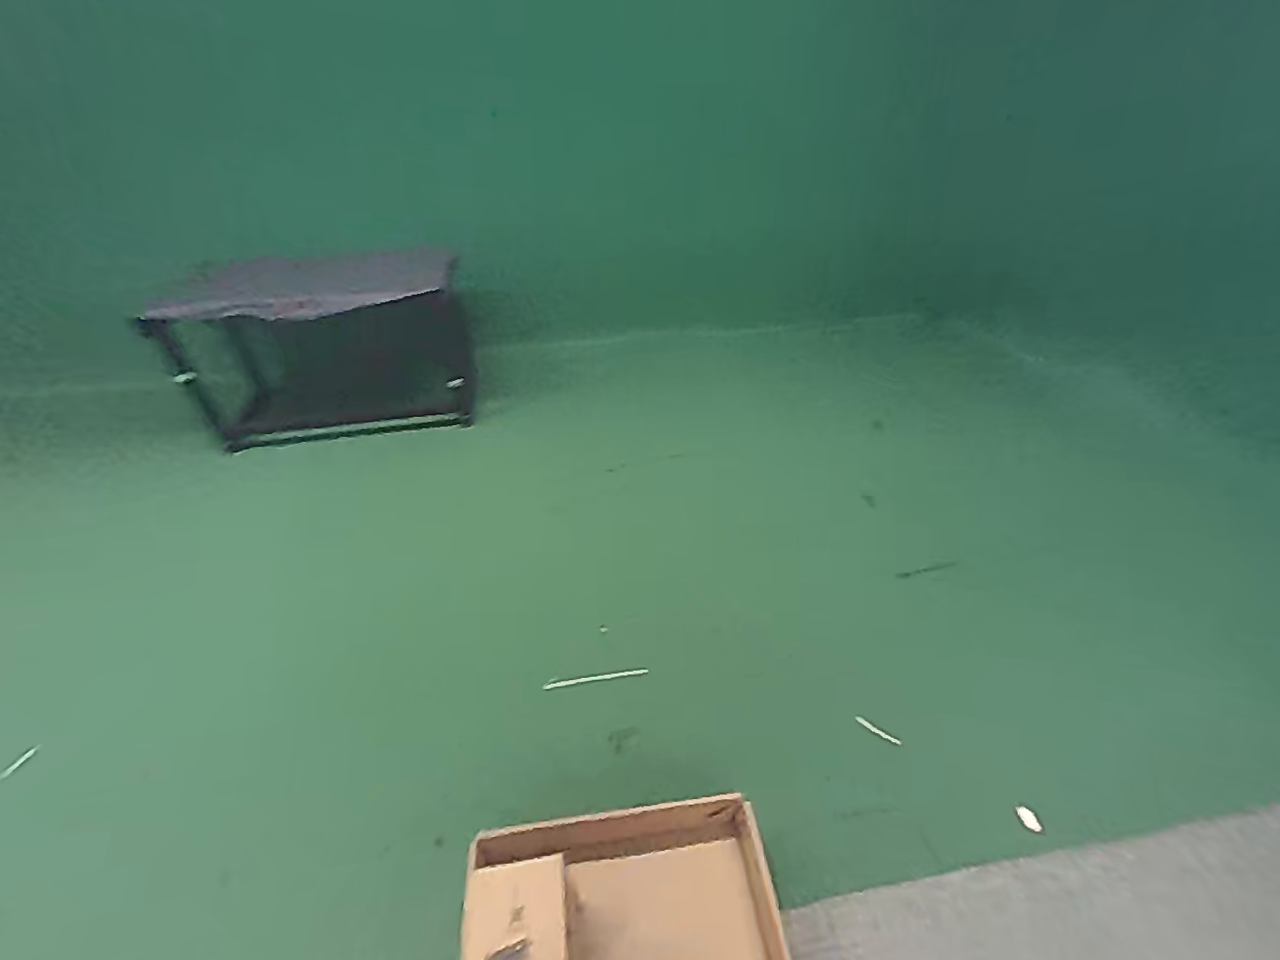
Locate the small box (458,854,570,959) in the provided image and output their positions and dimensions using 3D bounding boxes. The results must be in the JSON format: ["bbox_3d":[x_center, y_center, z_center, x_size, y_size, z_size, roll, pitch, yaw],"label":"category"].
[{"bbox_3d":[-0.214,0.795,0.947,0.168,0.176,0.179,-6,39,-7],"label":"small box"}]

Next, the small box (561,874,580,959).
[{"bbox_3d":[-0.208,0.915,1.059,0.168,0.176,0.179,-7,40,-8],"label":"small box"}]
